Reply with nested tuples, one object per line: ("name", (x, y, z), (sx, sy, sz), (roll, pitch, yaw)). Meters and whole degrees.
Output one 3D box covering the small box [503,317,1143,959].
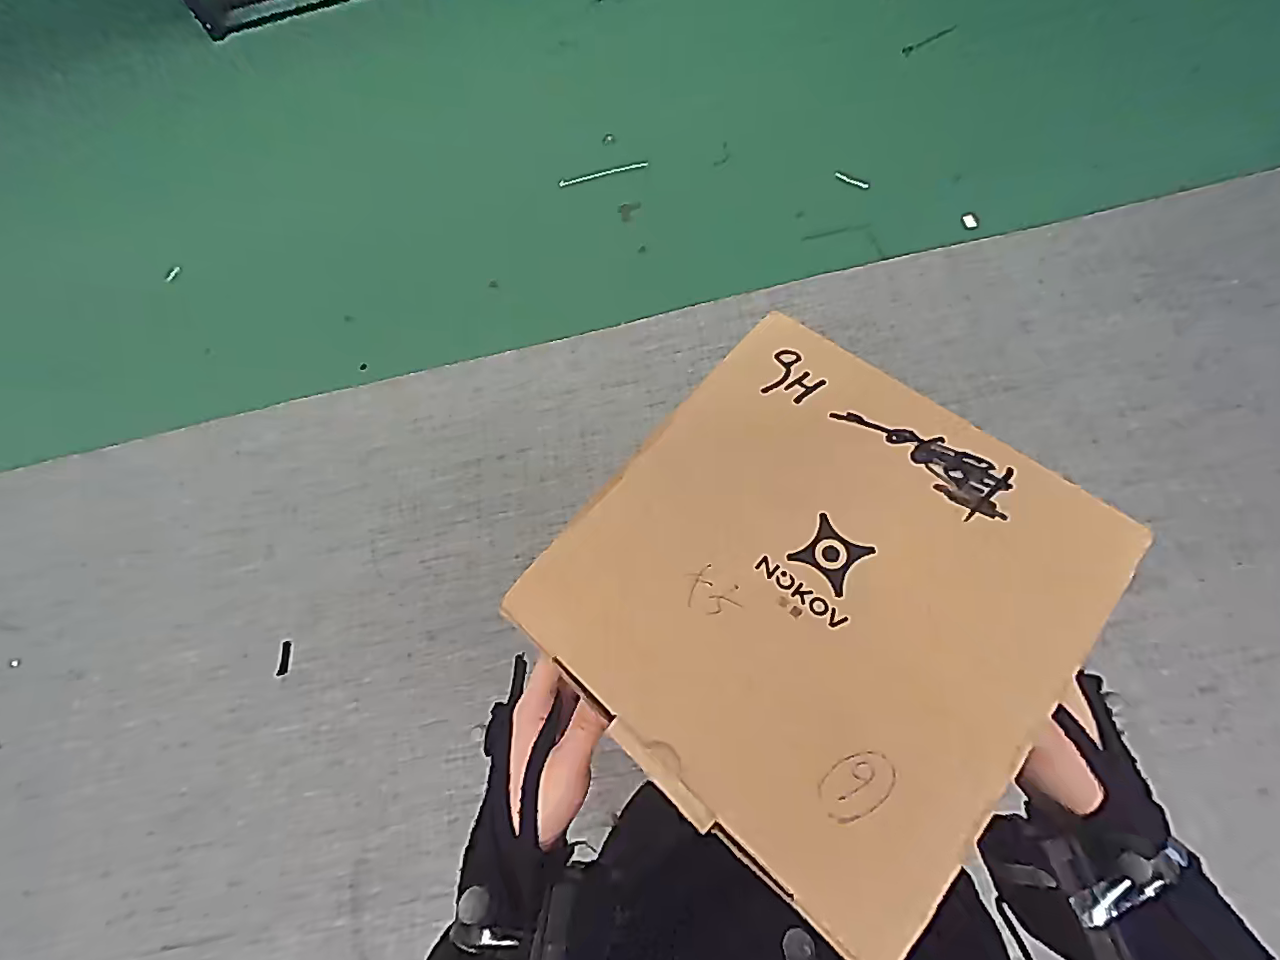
("small box", (0.071, 0.065, 0.272), (0.168, 0.176, 0.179), (38, 77, 19))
